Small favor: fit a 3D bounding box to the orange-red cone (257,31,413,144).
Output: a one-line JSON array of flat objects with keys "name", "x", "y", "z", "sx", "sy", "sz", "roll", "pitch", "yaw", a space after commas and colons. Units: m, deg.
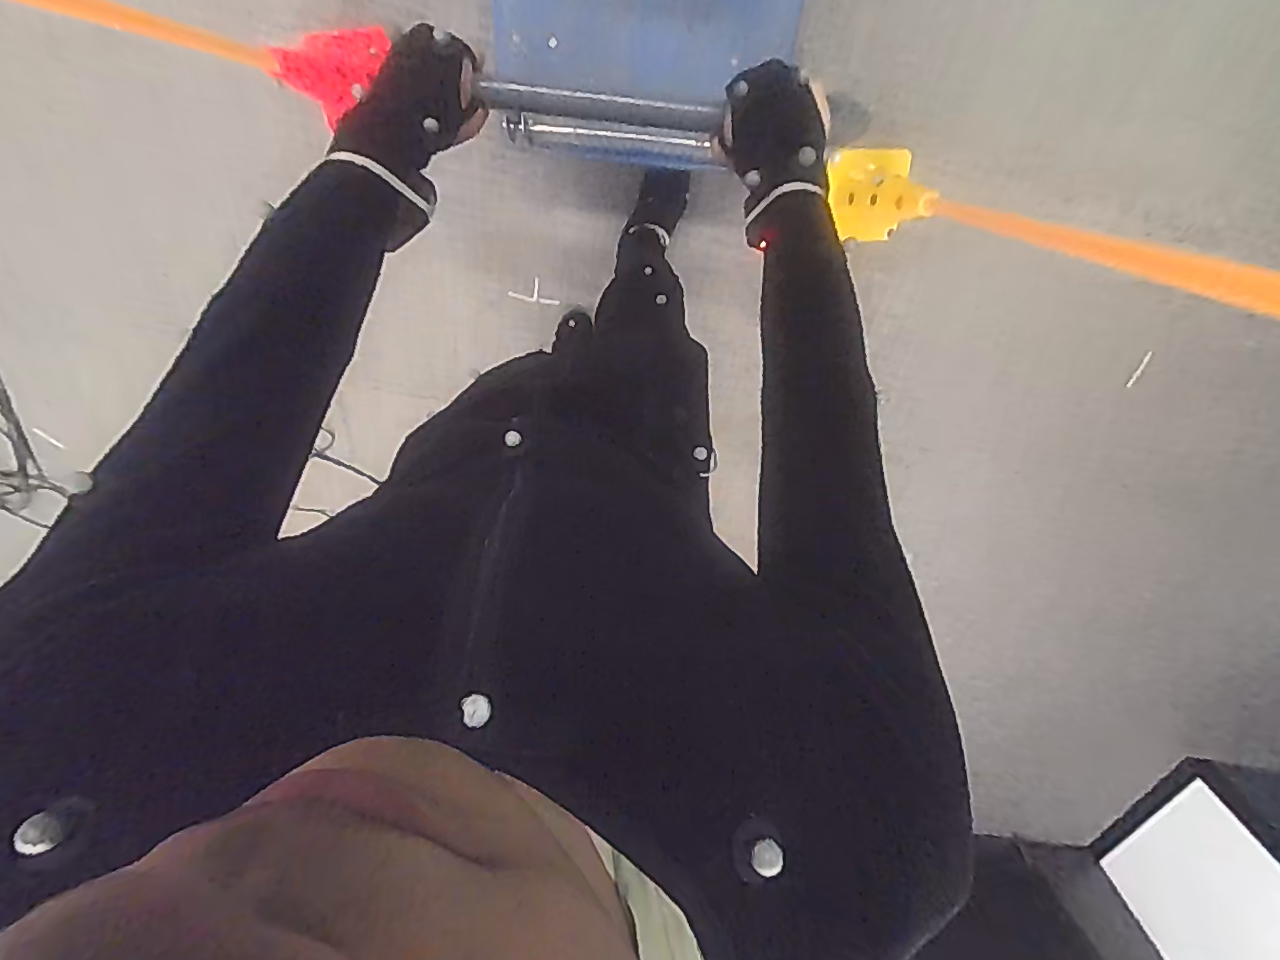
[{"name": "orange-red cone", "x": -0.619, "y": -0.784, "z": 1.052, "sx": 0.199, "sy": 0.360, "sz": 0.198, "roll": -3, "pitch": 119, "yaw": 3}]
